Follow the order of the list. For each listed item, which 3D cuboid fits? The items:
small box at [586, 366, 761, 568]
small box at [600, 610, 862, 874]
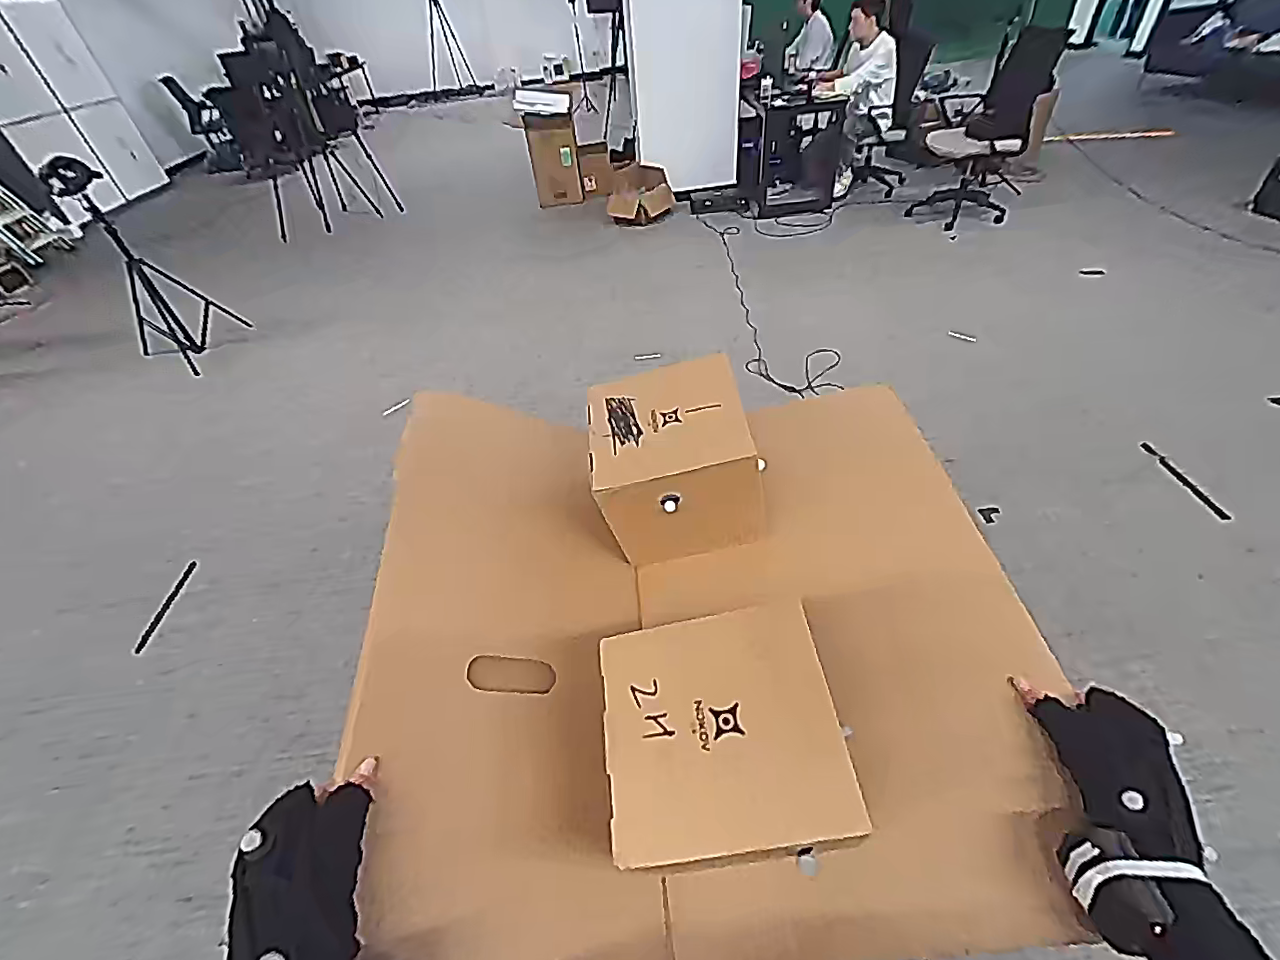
[{"bbox_3d":[0.042,-0.009,0.674,0.179,0.176,0.168,-13,51,7],"label":"small box"},{"bbox_3d":[0.076,0.236,0.476,0.179,0.176,0.168,-14,51,9],"label":"small box"}]
